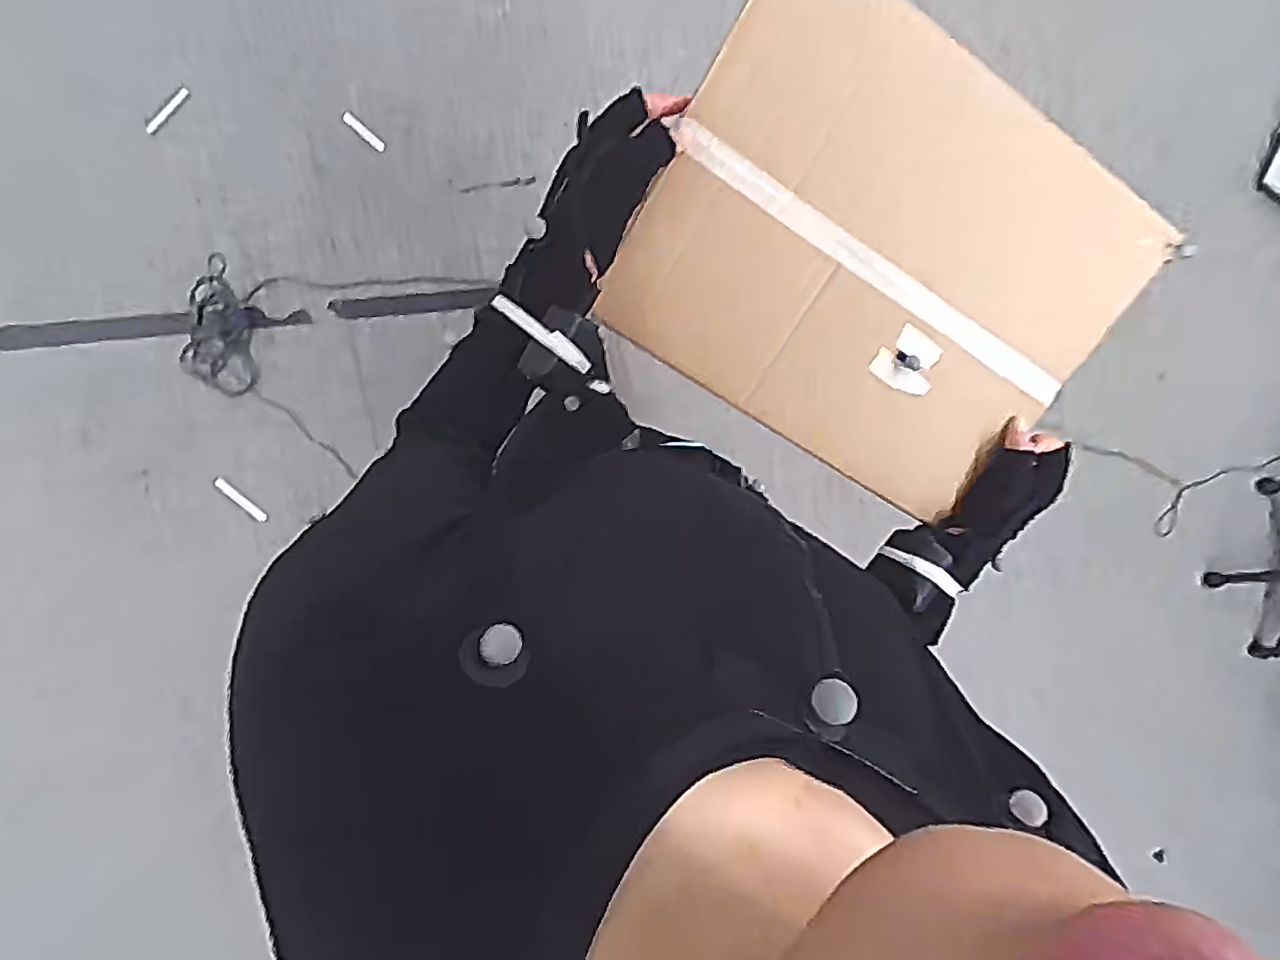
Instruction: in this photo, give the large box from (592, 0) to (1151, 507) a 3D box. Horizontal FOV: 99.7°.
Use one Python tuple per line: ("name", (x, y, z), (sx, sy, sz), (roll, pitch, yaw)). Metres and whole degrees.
("large box", (0.194, -0.234, 0.611), (0.408, 0.320, 0.320), (30, 106, -12))
